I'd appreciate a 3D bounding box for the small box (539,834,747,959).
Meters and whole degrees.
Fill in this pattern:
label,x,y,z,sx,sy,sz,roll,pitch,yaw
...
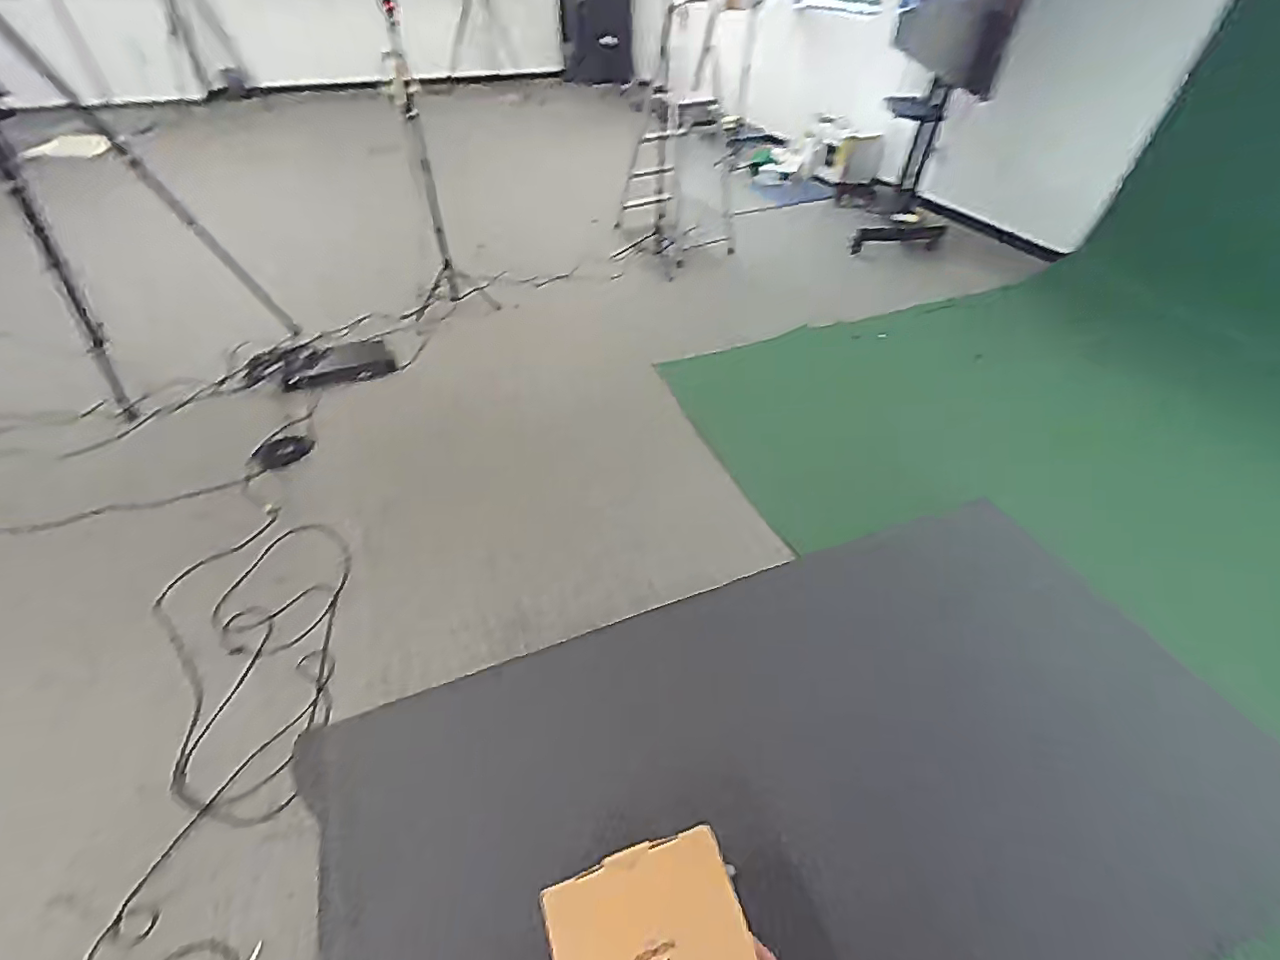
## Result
label,x,y,z,sx,sy,sz,roll,pitch,yaw
small box,0.010,0.474,0.505,0.168,0.176,0.179,-12,45,-14
